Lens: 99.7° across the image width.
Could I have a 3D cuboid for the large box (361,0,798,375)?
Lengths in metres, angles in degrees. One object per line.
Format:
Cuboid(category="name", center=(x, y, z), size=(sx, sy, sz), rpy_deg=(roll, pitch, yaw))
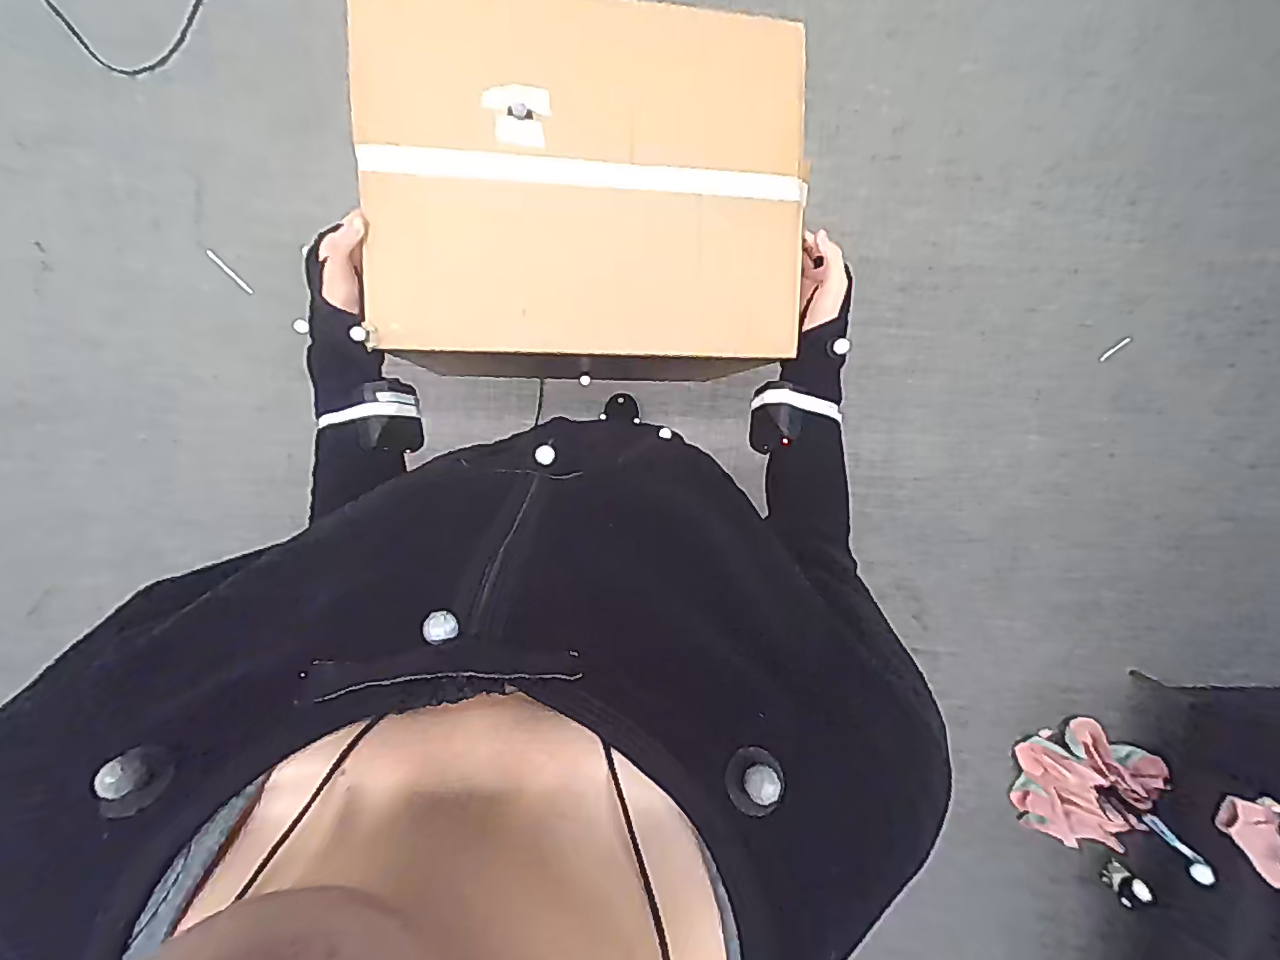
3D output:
Cuboid(category="large box", center=(-0.063, -0.291, 0.653), size=(0.408, 0.320, 0.320), rpy_deg=(-1, 96, -9))
